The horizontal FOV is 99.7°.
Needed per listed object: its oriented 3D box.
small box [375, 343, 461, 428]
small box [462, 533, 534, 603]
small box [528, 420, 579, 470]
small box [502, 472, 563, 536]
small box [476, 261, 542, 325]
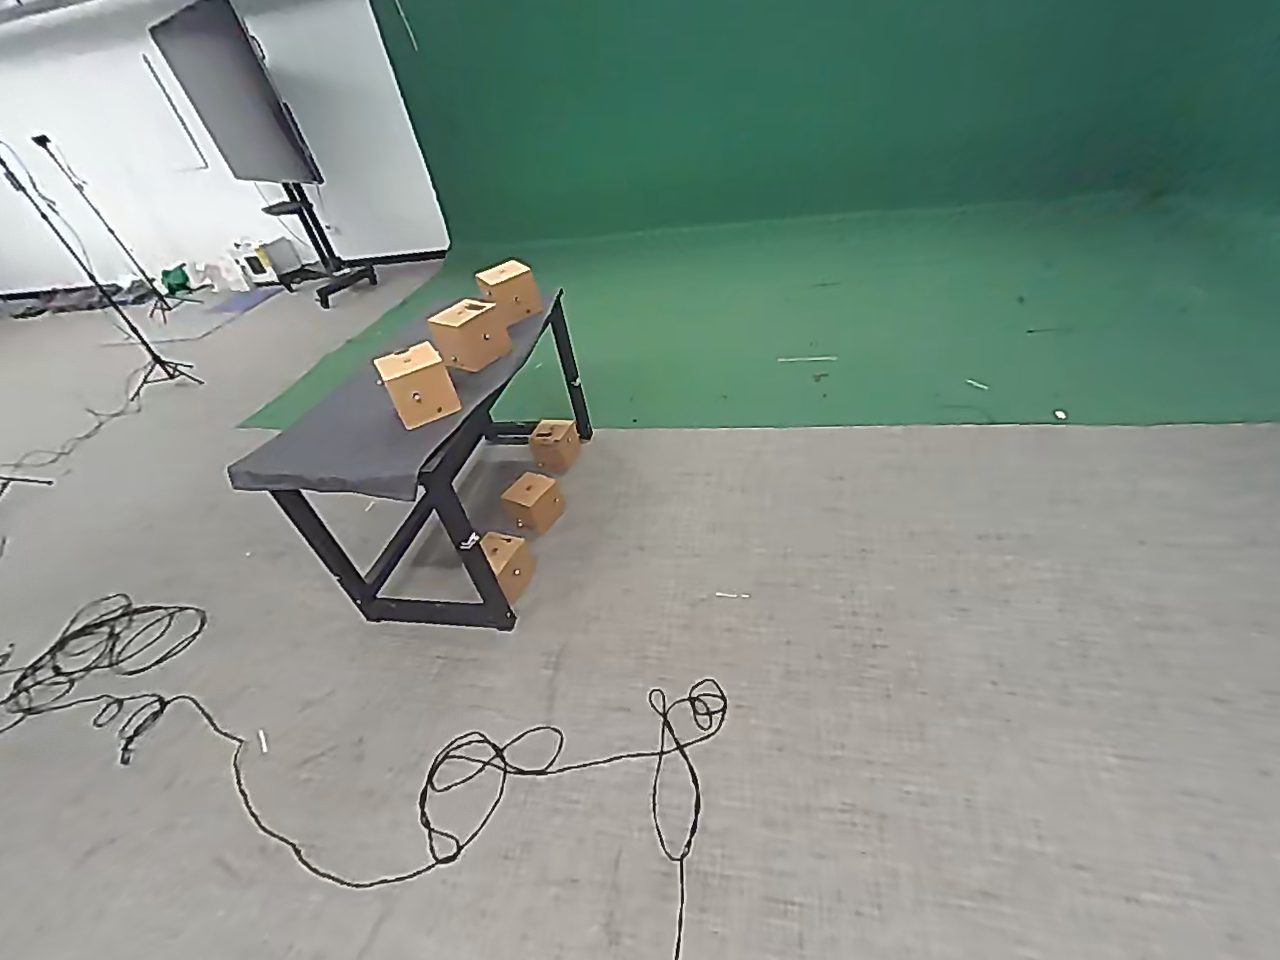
[{"bbox_3d":[-0.647,-0.274,1.586,0.168,0.176,0.179,-27,42,-20],"label":"small box"},{"bbox_3d":[-0.512,0.324,1.986,0.168,0.176,0.179,9,44,22],"label":"small box"},{"bbox_3d":[-0.400,-0.163,2.548,0.168,0.176,0.179,5,41,17],"label":"small box"},{"bbox_3d":[-0.436,0.100,2.240,0.168,0.176,0.179,15,47,28],"label":"small box"},{"bbox_3d":[-0.498,-0.714,2.076,0.168,0.176,0.179,-30,43,-19],"label":"small box"}]
